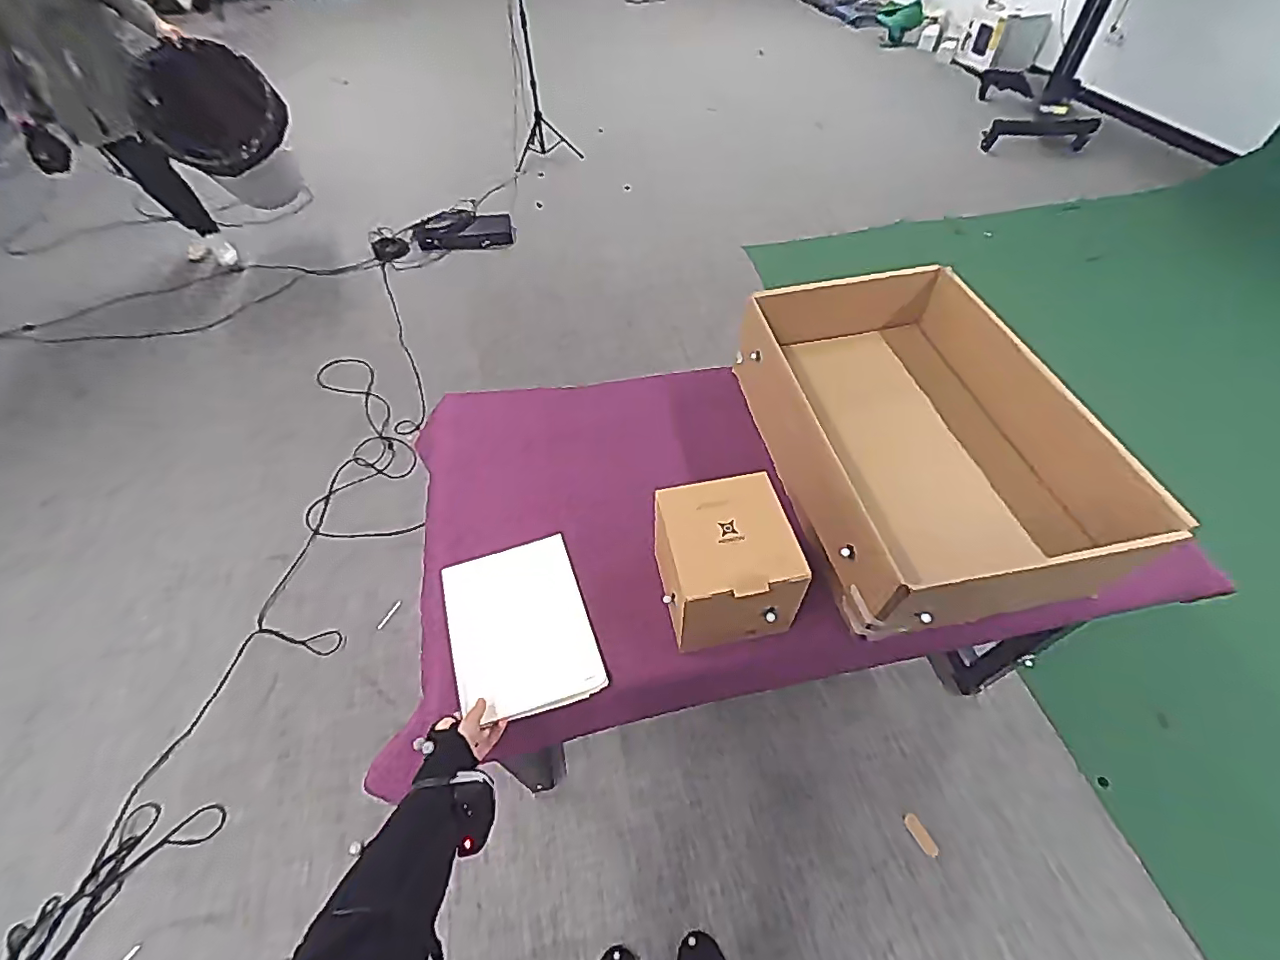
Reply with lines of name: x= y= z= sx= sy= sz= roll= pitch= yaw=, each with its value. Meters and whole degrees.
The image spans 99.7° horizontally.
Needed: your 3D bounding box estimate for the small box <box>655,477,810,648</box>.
small box: x=0.119 y=0.124 z=0.772 sx=0.168 sy=0.176 sz=0.179 roll=-9 pitch=50 yaw=-6
